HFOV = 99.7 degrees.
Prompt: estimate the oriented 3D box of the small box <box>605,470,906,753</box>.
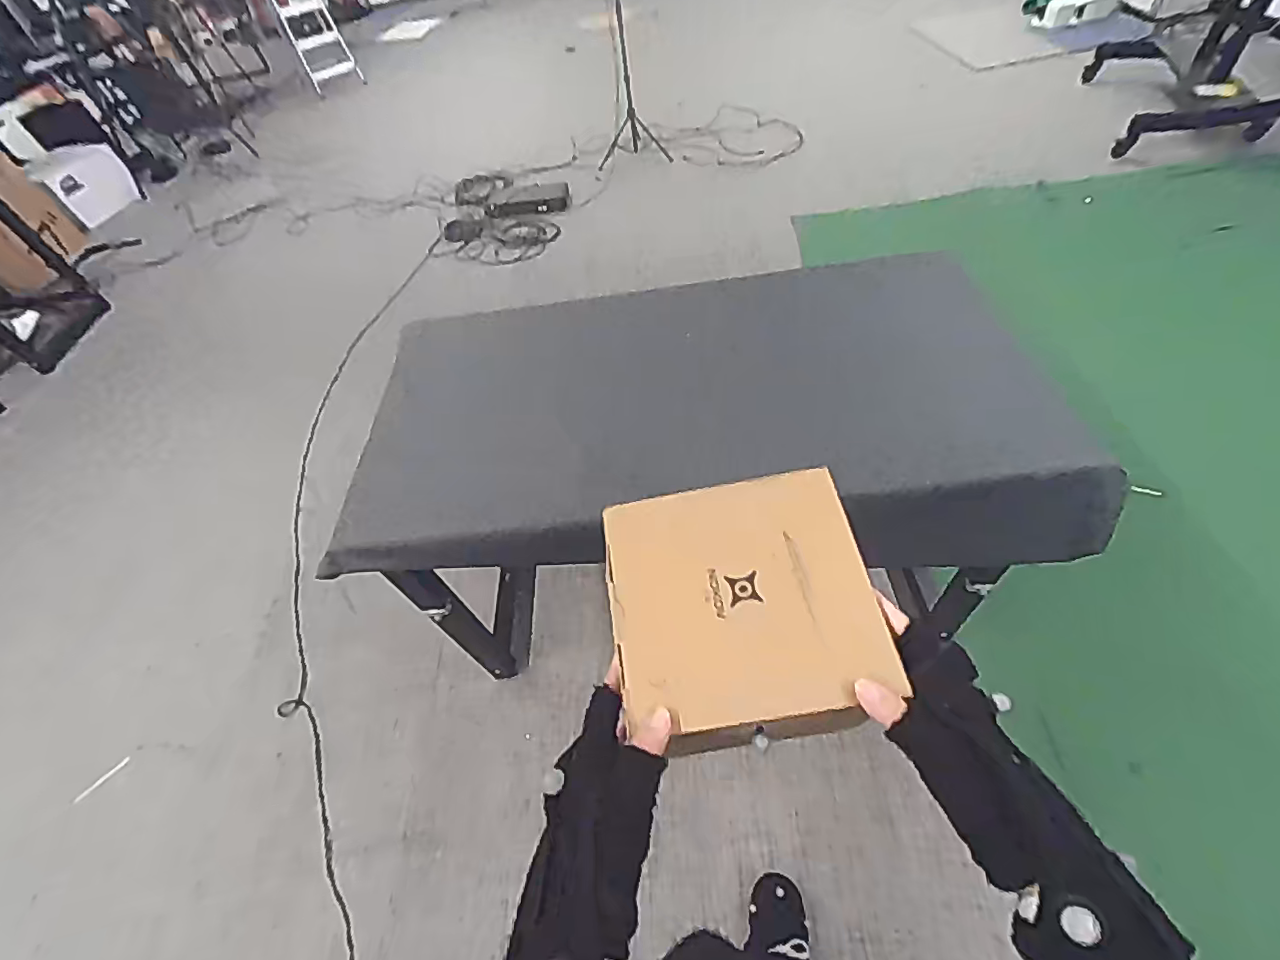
[{"bbox_3d":[0.079,0.117,0.443,0.179,0.176,0.168,-11,60,1],"label":"small box"}]
